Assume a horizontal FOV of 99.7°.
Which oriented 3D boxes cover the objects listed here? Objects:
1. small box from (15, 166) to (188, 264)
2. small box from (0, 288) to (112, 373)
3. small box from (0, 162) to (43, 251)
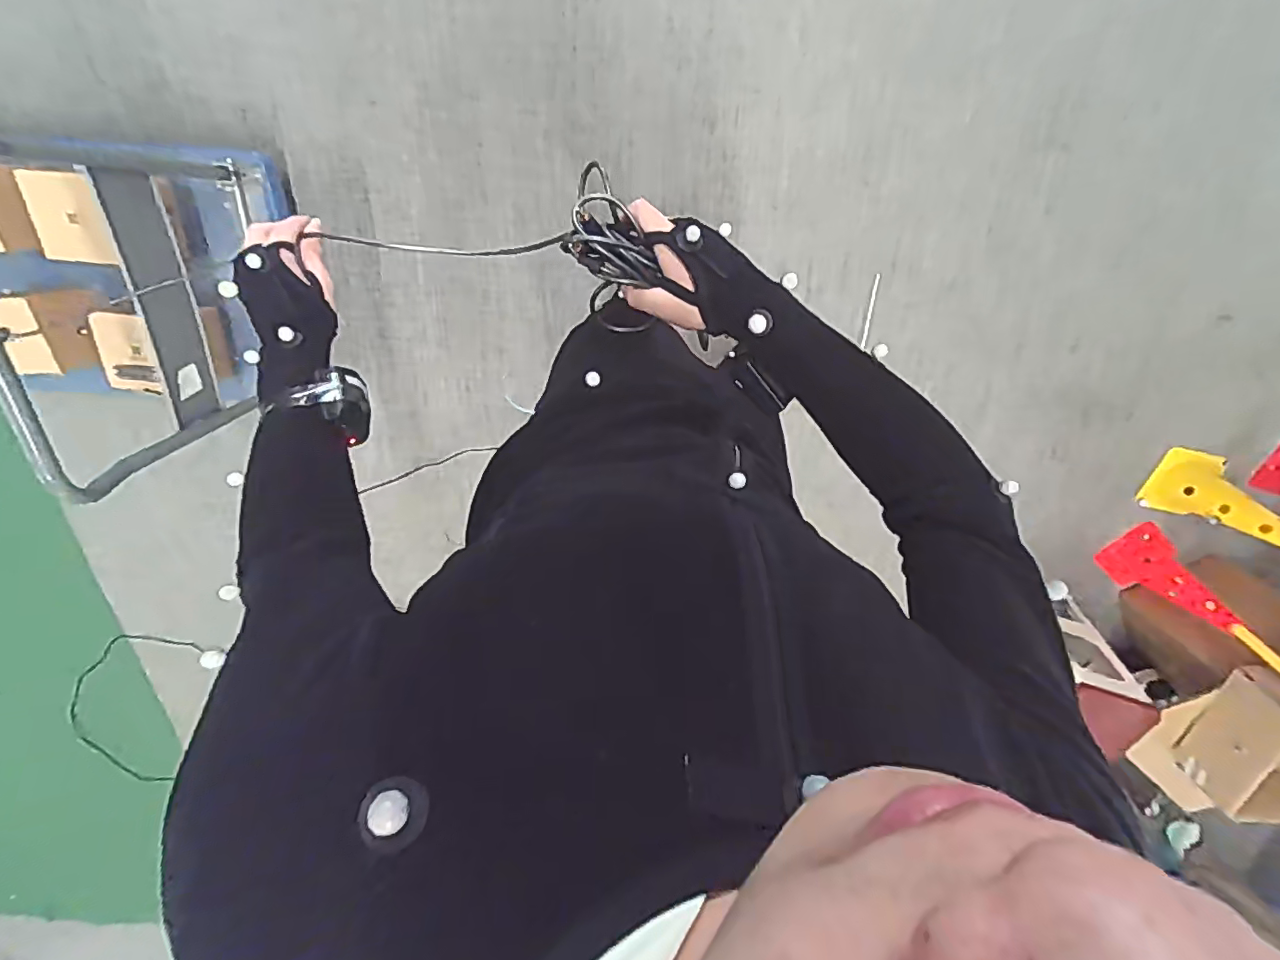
[{"bbox_3d":[-1.129,-0.560,1.152,0.179,0.176,0.168,4,116,-2],"label":"small box"},{"bbox_3d":[-1.395,-0.350,1.255,0.179,0.176,0.168,0,115,0],"label":"small box"},{"bbox_3d":[-1.386,-0.580,1.142,0.179,0.176,0.168,1,117,-1],"label":"small box"}]
